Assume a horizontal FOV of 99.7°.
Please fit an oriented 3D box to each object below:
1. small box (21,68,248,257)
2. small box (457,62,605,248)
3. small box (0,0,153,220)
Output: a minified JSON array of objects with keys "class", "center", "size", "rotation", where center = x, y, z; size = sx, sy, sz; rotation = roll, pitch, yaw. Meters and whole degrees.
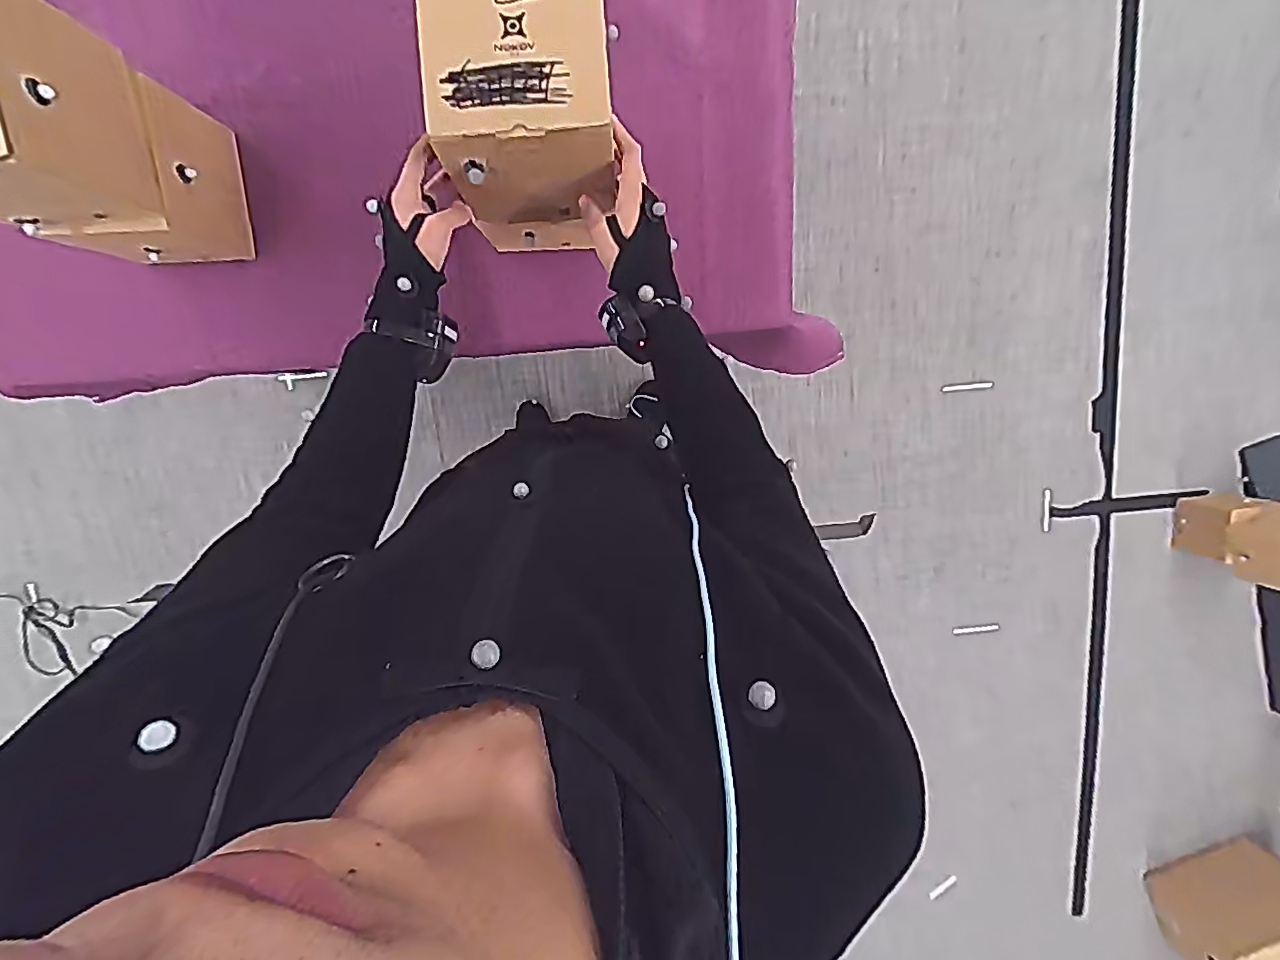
[{"class":"small box","center":[-0.654,-0.395,0.704],"size":[0.168,0.176,0.179],"rotation":[-3,101,-3]},{"class":"small box","center":[-0.134,-0.420,0.730],"size":[0.168,0.176,0.179],"rotation":[-3,100,-2]},{"class":"small box","center":[-0.650,-0.375,0.541],"size":[0.168,0.176,0.179],"rotation":[-7,101,-2]}]
